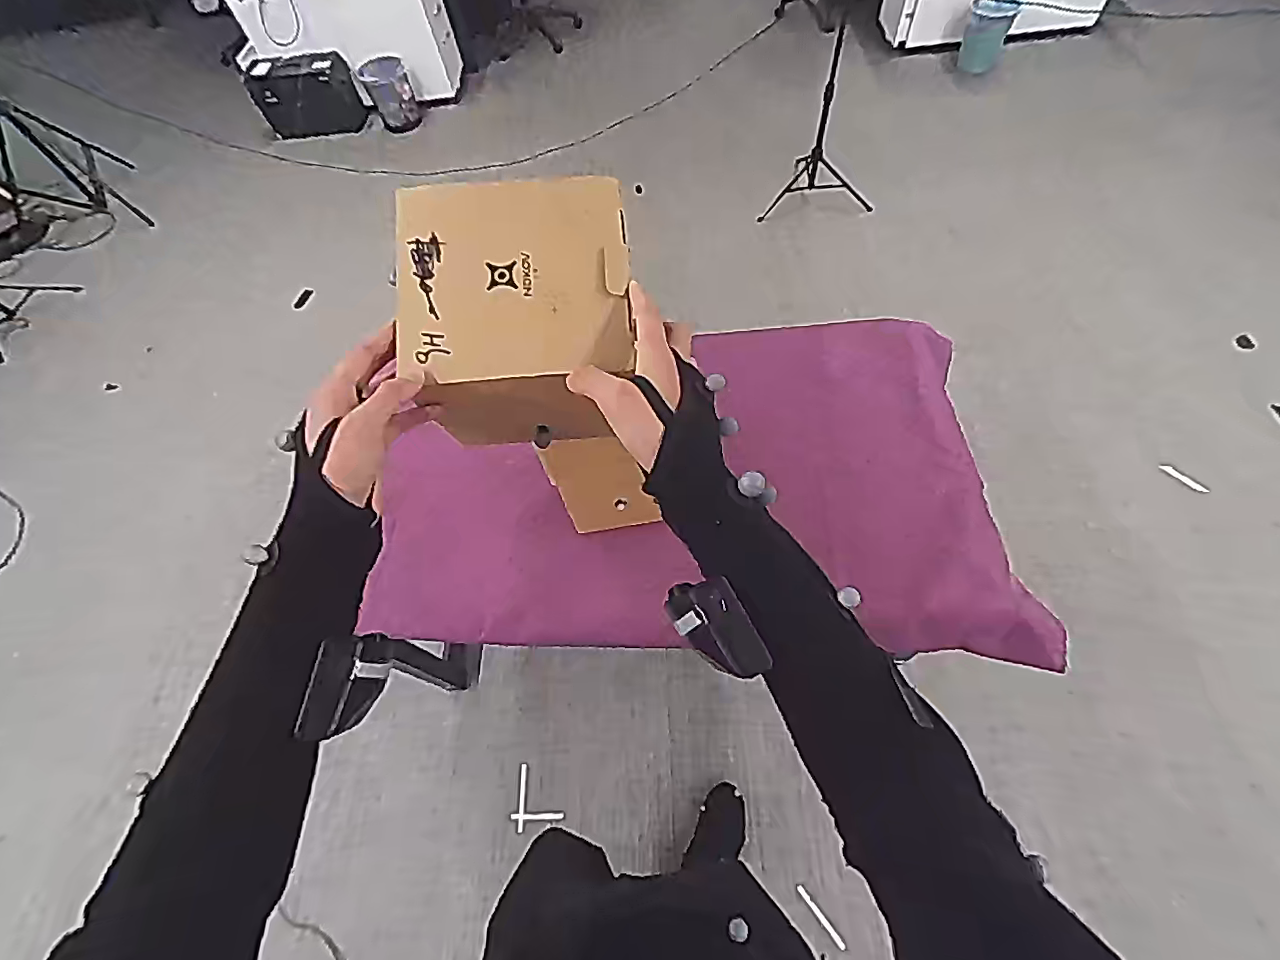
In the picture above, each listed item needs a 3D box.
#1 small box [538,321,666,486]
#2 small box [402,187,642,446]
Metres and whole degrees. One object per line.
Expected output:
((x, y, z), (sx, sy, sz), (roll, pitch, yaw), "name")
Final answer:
((-0.058, -0.102, 0.781), (0.179, 0.176, 0.168), (-5, 59, 3), "small box")
((-0.095, -0.133, 0.488), (0.179, 0.176, 0.168), (-3, 78, -4), "small box")
